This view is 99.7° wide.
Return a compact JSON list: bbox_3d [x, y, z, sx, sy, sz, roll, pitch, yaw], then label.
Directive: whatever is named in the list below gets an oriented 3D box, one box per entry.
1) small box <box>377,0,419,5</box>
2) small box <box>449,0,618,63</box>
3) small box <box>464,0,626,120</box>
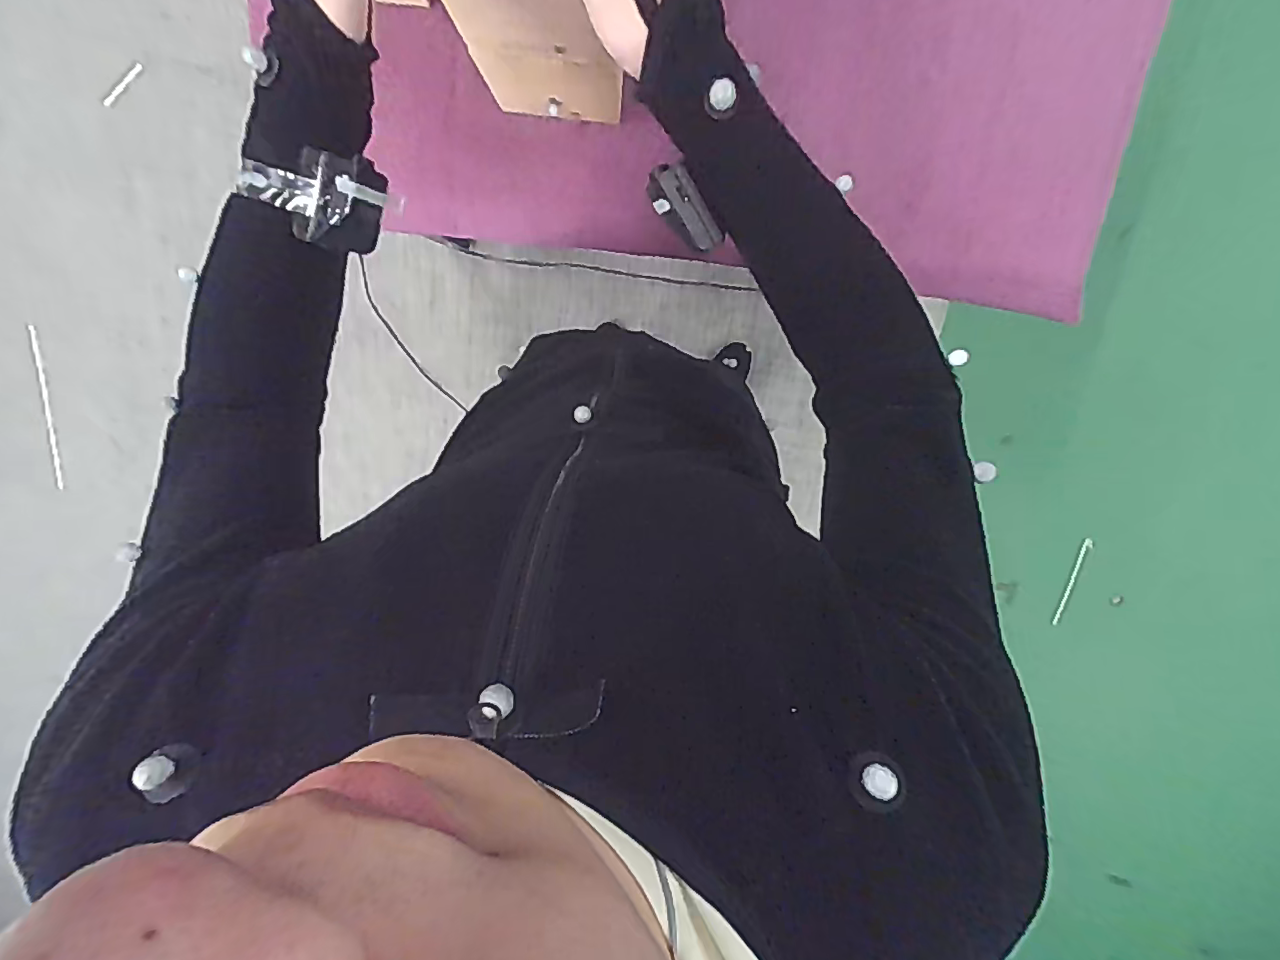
[{"bbox_3d":[-0.353,-0.688,0.603,0.168,0.176,0.179,4,107,-2],"label":"small box"},{"bbox_3d":[-0.099,-0.524,0.486,0.168,0.176,0.179,5,105,-2],"label":"small box"},{"bbox_3d":[-0.104,-0.567,0.645,0.168,0.176,0.179,5,106,-2],"label":"small box"}]
